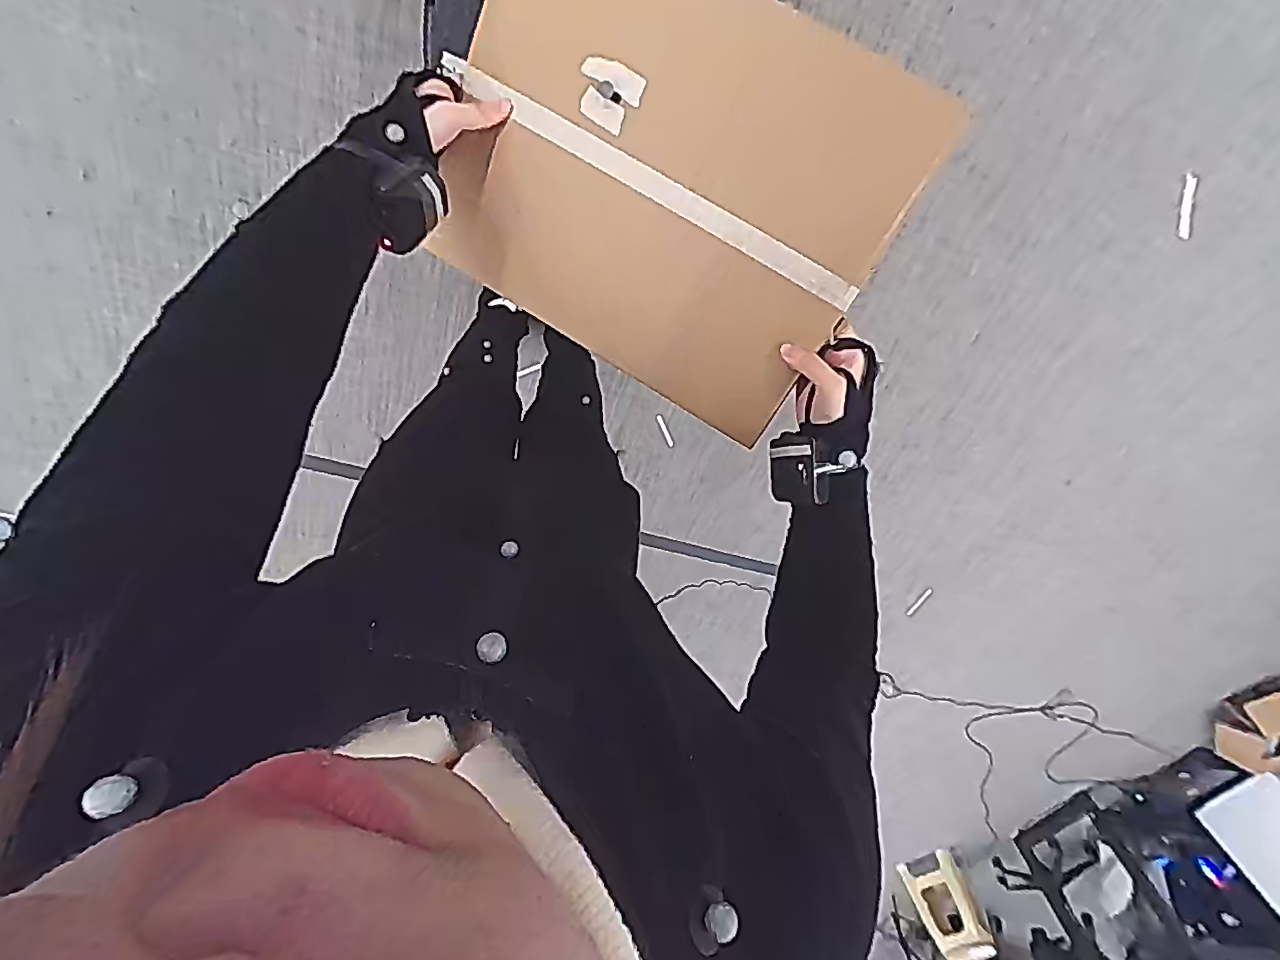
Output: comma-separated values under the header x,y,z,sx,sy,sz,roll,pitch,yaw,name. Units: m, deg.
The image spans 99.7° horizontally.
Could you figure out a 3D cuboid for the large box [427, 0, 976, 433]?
x,y,z,sx,sy,sz,roll,pitch,yaw,name
0.059,-0.308,0.610,0.408,0.320,0.320,32,112,5,large box
